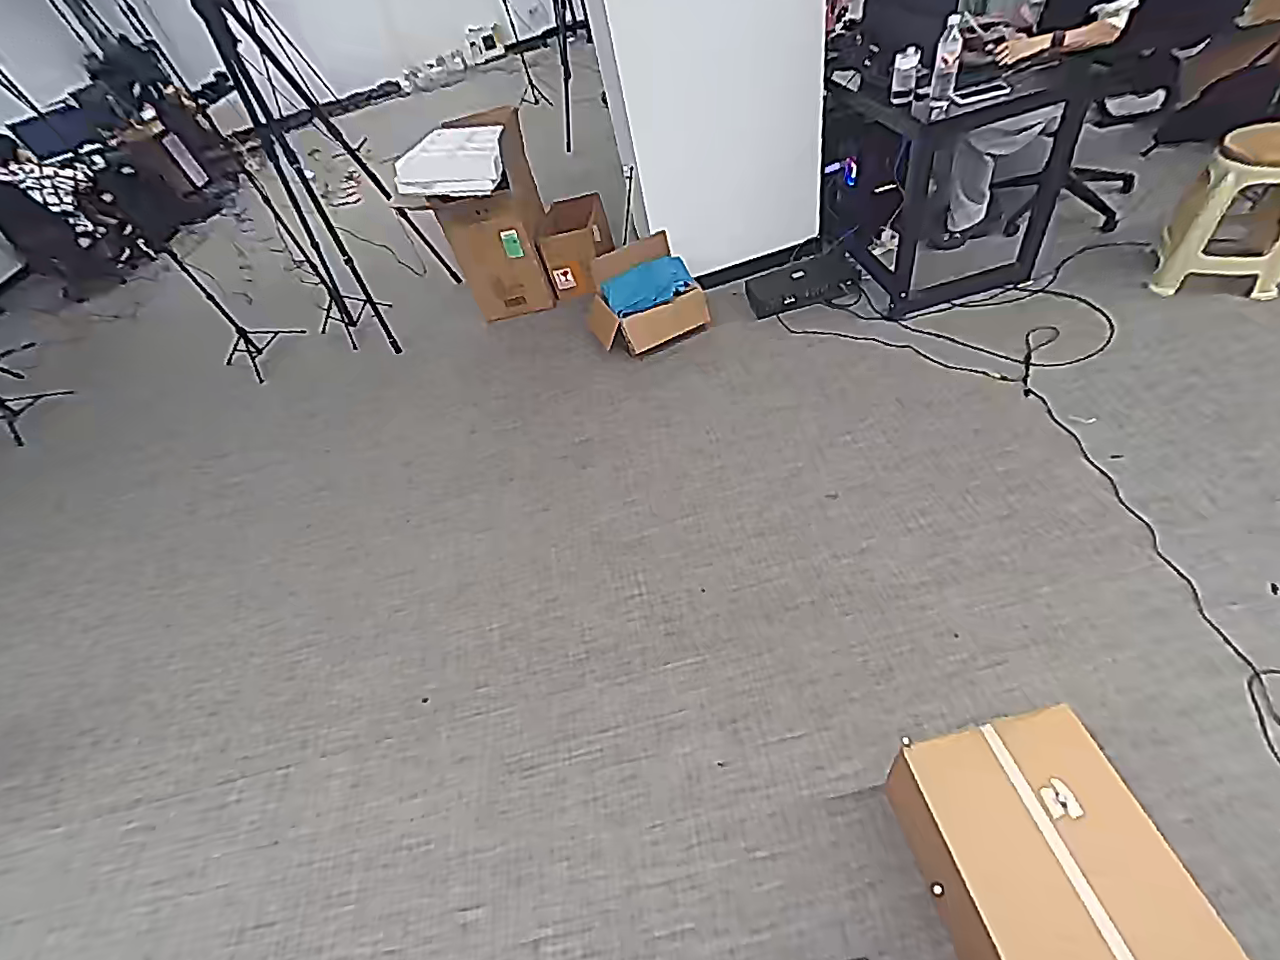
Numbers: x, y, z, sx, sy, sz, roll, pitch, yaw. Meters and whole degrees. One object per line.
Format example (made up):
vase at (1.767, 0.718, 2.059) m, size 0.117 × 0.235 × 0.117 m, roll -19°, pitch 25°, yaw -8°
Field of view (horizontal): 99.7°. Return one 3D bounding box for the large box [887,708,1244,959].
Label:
large box at (0.705, 0.703, 0.983) m, size 0.320 × 0.320 × 0.408 m, roll -16°, pitch 46°, yaw 2°
